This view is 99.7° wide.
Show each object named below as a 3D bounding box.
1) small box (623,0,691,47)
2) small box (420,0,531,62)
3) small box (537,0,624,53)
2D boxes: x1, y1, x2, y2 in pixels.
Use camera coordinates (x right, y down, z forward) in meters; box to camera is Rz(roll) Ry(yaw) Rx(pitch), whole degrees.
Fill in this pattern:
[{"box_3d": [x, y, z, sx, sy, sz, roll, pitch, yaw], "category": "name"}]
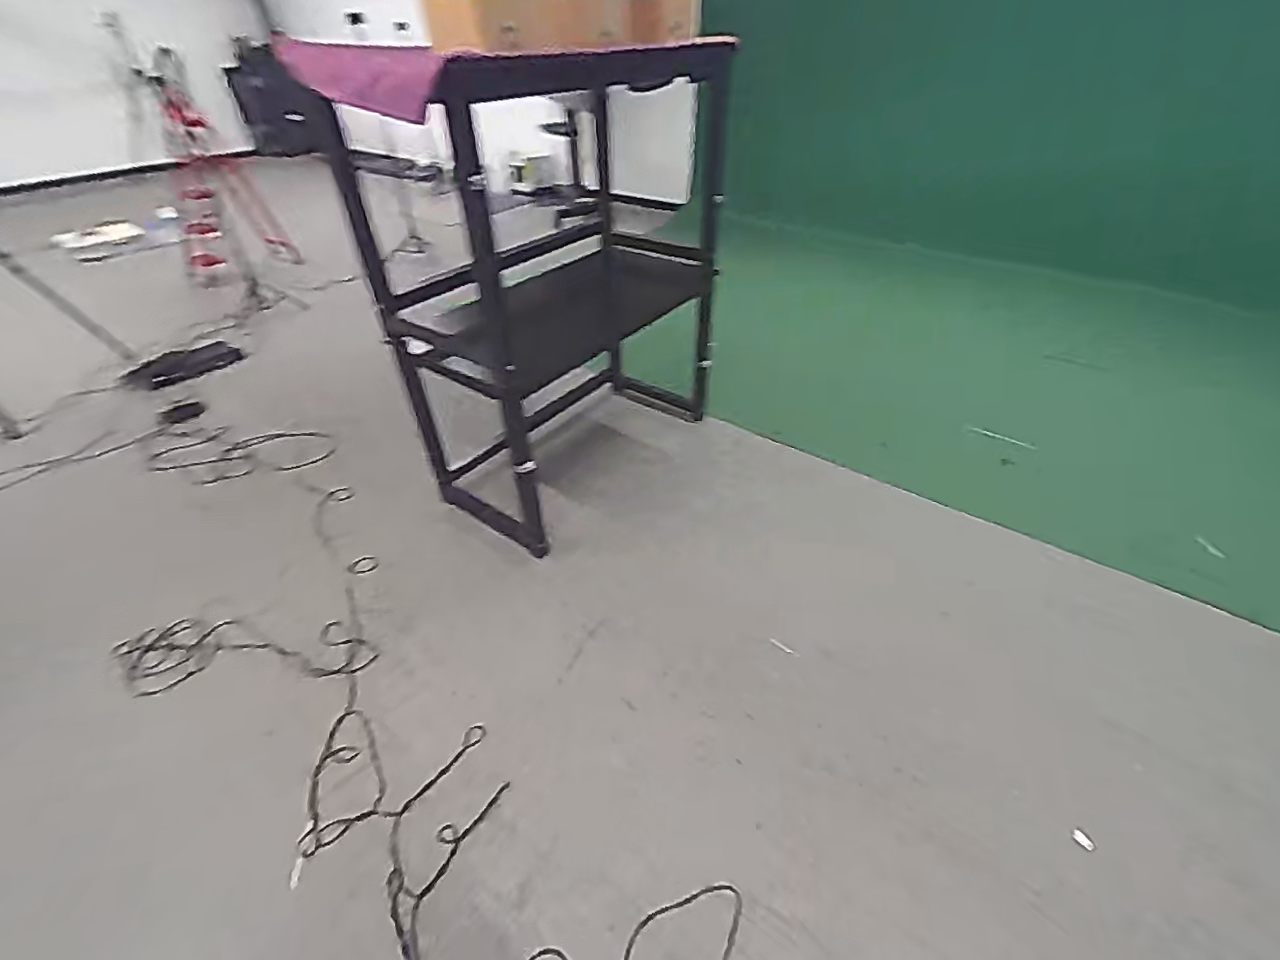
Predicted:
[{"box_3d": [0.036, -1.409, 1.621, 0.179, 0.176, 0.168, 27, 49, 27], "category": "small box"}, {"box_3d": [-0.363, -1.020, 1.177, 0.179, 0.176, 0.168, 24, 47, 28], "category": "small box"}, {"box_3d": [-0.158, -1.226, 1.413, 0.179, 0.176, 0.168, 26, 48, 27], "category": "small box"}]
